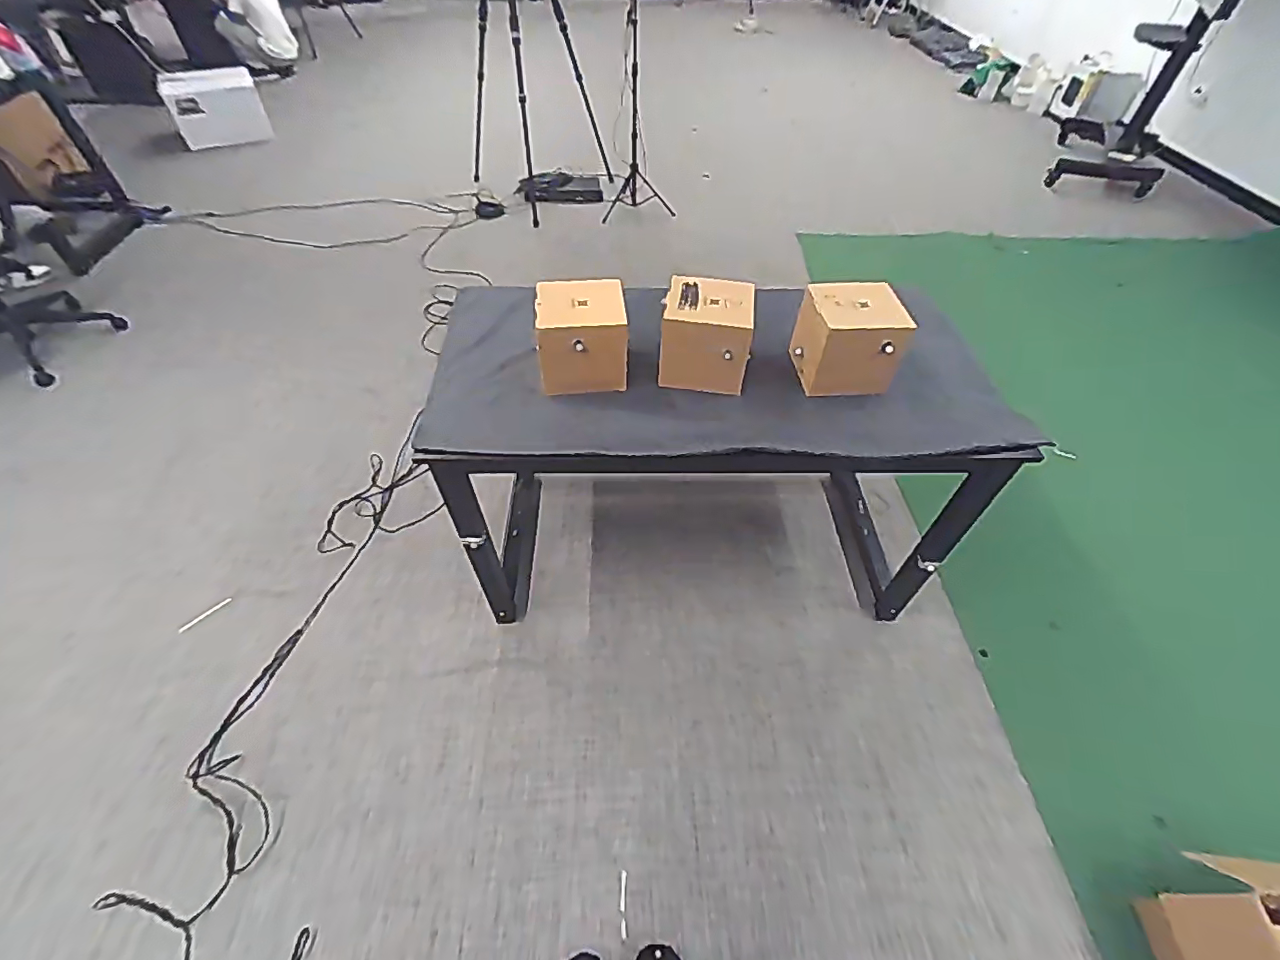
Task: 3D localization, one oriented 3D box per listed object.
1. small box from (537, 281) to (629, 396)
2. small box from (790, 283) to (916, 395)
[{"bbox_3d":[-0.117,-0.293,1.128,0.179,0.176,0.168,-5,50,-5],"label":"small box"},{"bbox_3d":[0.435,-0.292,1.135,0.179,0.176,0.168,-2,49,-3],"label":"small box"}]
